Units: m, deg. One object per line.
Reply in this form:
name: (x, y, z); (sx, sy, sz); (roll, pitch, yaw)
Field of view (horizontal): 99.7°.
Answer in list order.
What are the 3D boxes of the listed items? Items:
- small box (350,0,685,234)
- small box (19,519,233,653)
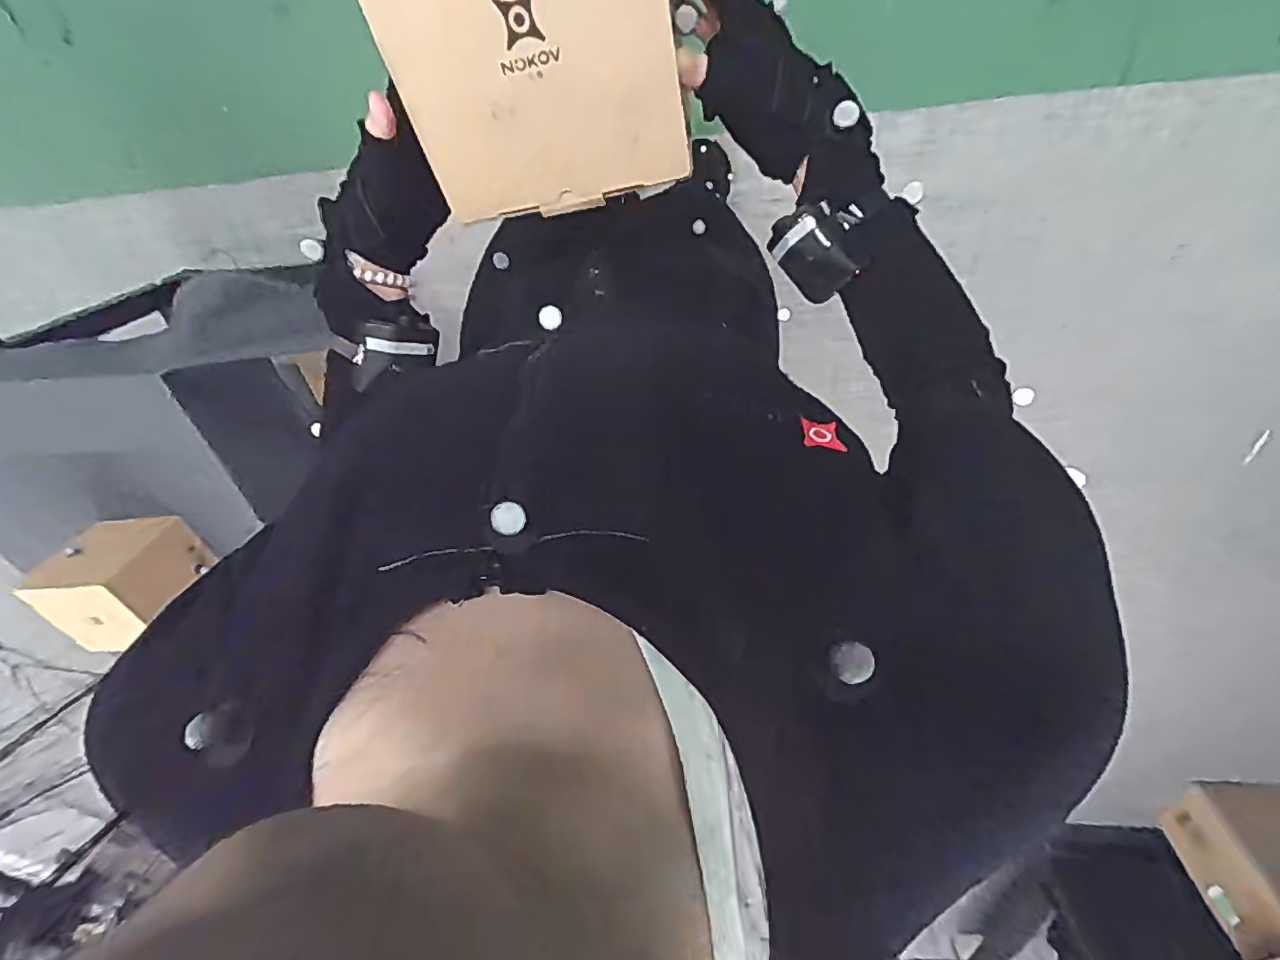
small box: (-0.061, -0.295, 0.355); (0.168, 0.176, 0.179); (-6, 137, 11)
small box: (-0.887, 0.185, 0.956); (0.179, 0.176, 0.168); (-4, 128, 9)
